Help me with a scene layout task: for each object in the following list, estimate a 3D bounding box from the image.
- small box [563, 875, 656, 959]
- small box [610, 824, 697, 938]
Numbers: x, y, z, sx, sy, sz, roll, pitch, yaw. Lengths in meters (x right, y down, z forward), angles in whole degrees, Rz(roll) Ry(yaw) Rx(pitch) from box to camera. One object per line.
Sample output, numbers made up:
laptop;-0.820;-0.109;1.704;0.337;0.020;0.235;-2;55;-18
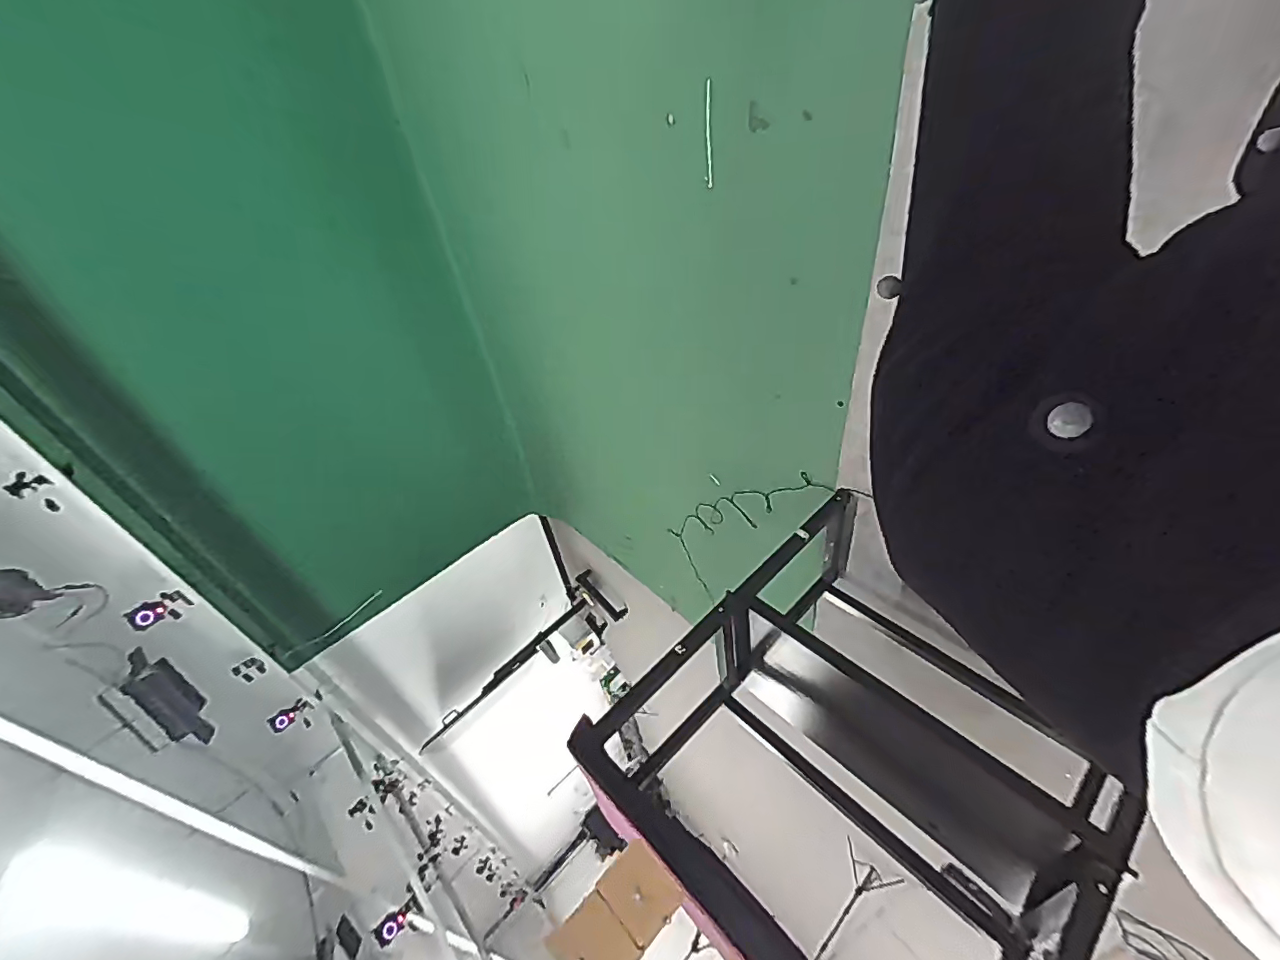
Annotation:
small box;-0.070;1.191;1.418;0.179;0.176;0.168;35;150;35
small box;0.046;1.100;1.488;0.179;0.176;0.168;33;148;35
